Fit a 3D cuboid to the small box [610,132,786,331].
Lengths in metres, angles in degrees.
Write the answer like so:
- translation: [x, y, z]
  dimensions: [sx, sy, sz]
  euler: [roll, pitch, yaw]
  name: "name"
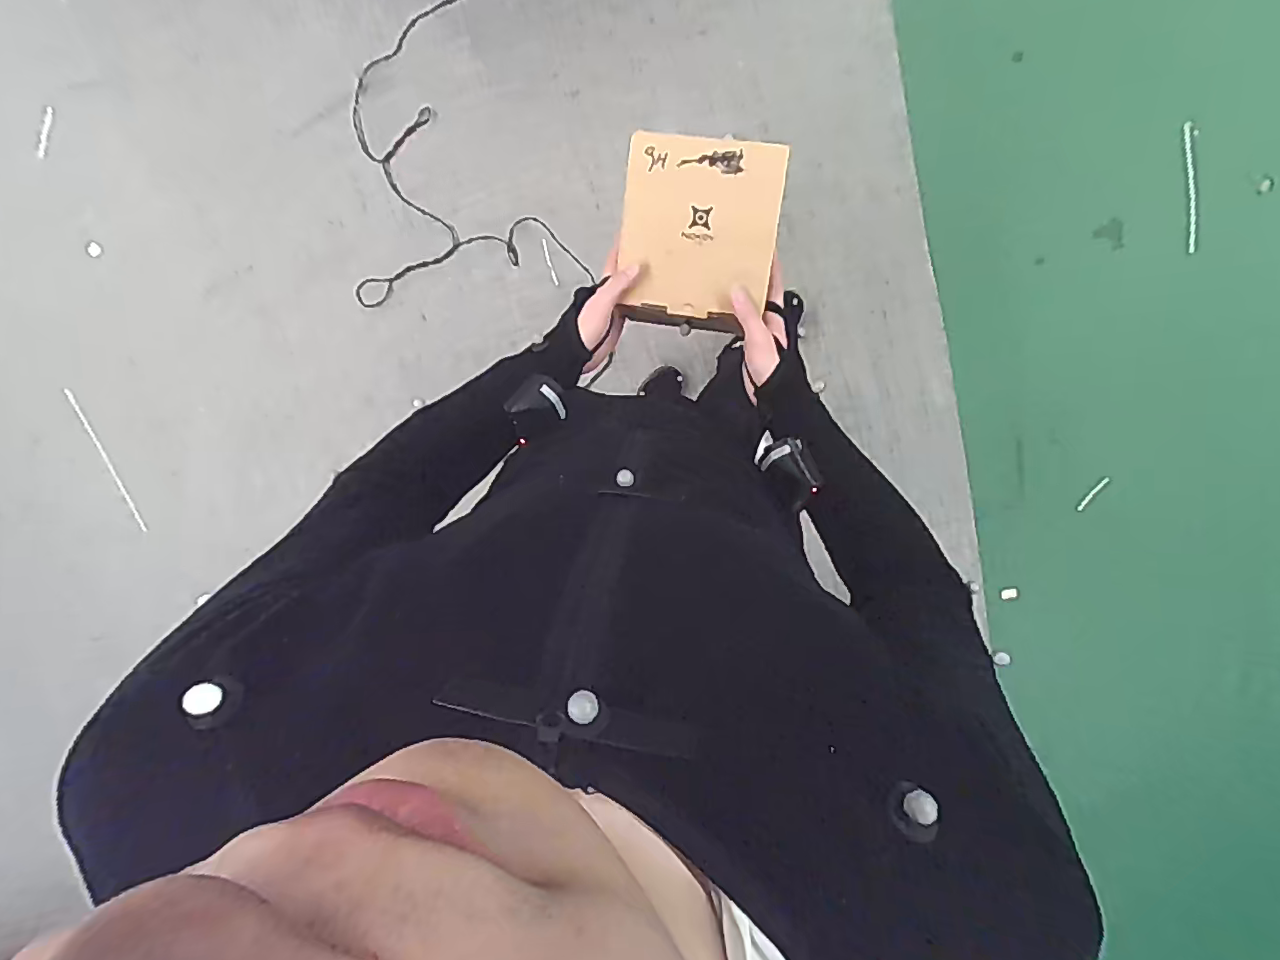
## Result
- translation: [0.065, -0.278, 0.644]
  dimensions: [0.168, 0.176, 0.179]
  euler: [8, 102, 3]
  name: "small box"
